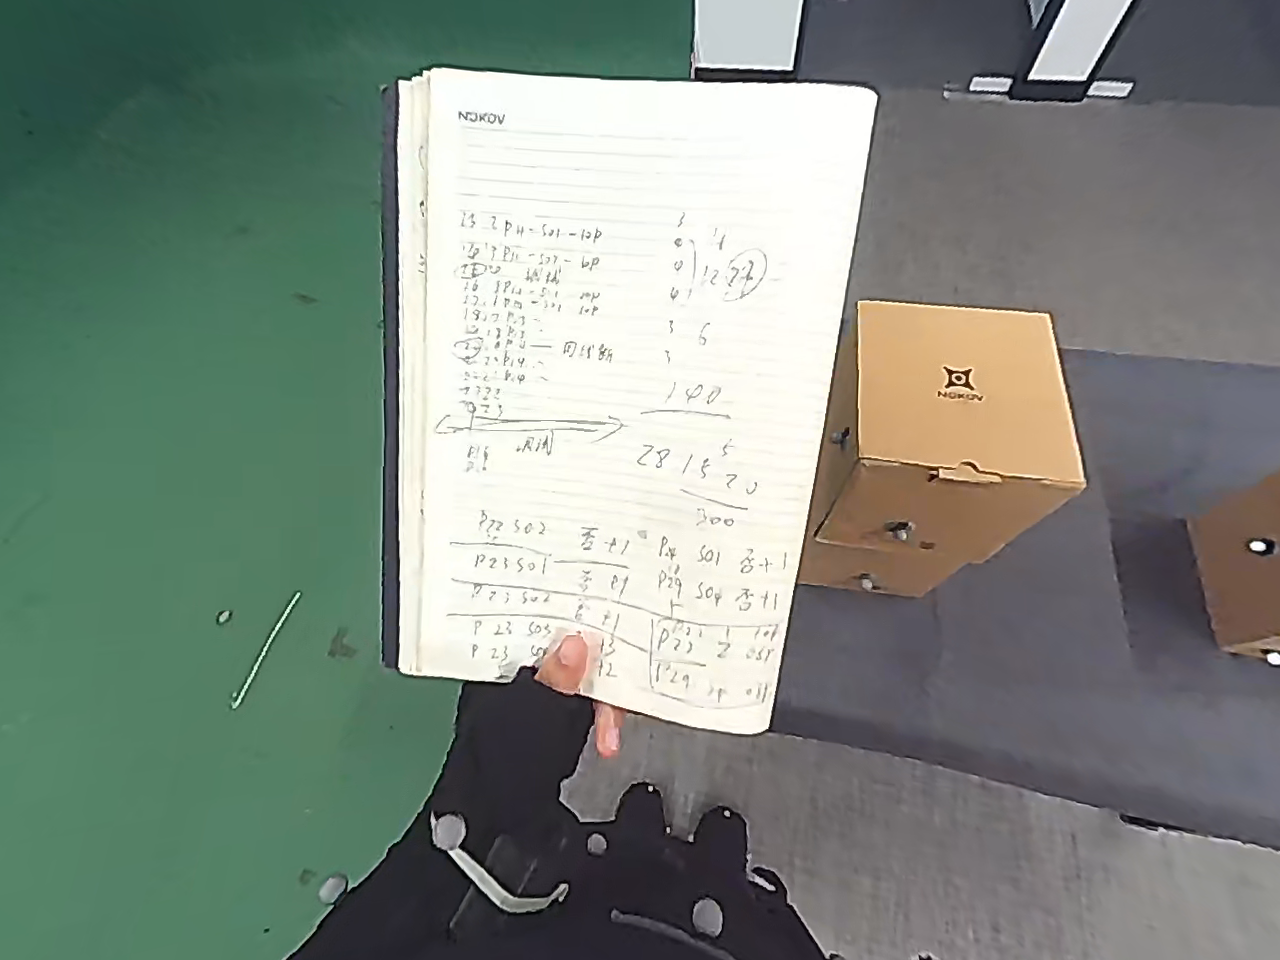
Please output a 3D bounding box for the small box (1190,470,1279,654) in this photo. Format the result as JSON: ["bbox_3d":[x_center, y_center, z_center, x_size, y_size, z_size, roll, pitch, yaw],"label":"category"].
[{"bbox_3d":[0.773,0.099,0.590,0.168,0.176,0.179,9,62,10],"label":"small box"}]

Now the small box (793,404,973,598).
[{"bbox_3d":[0.288,0.030,0.669,0.168,0.176,0.179,5,62,8],"label":"small box"}]

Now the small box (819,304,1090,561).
[{"bbox_3d":[0.275,-0.041,0.523,0.168,0.176,0.179,7,62,8],"label":"small box"}]
